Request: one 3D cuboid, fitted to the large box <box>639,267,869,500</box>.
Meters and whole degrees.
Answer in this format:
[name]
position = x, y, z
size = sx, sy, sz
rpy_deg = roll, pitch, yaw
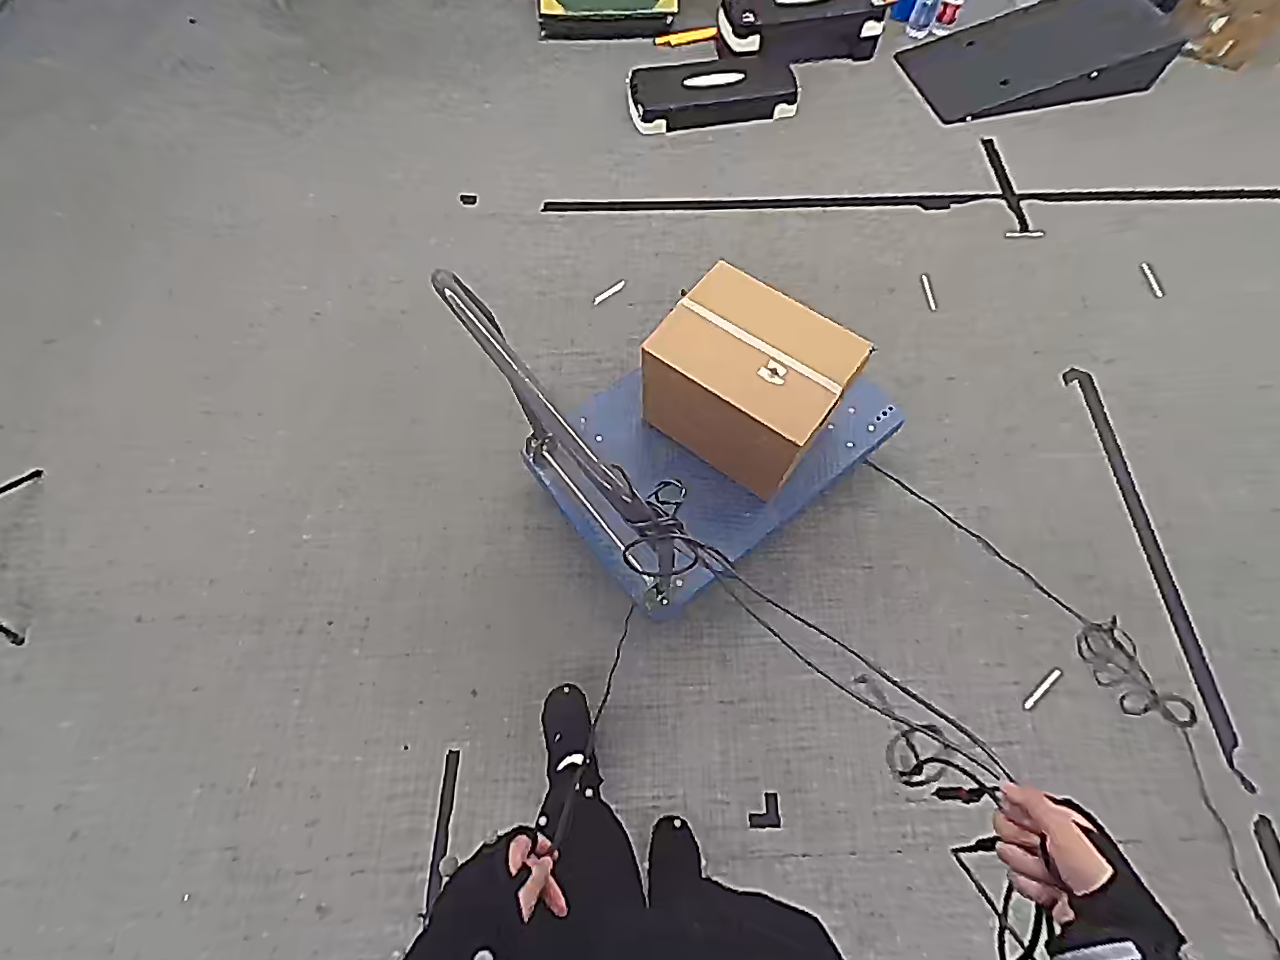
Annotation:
[large box]
position = 0.245, -0.221, 1.297
size = 0.408, 0.320, 0.320
rpy_deg = 35, 71, 14
